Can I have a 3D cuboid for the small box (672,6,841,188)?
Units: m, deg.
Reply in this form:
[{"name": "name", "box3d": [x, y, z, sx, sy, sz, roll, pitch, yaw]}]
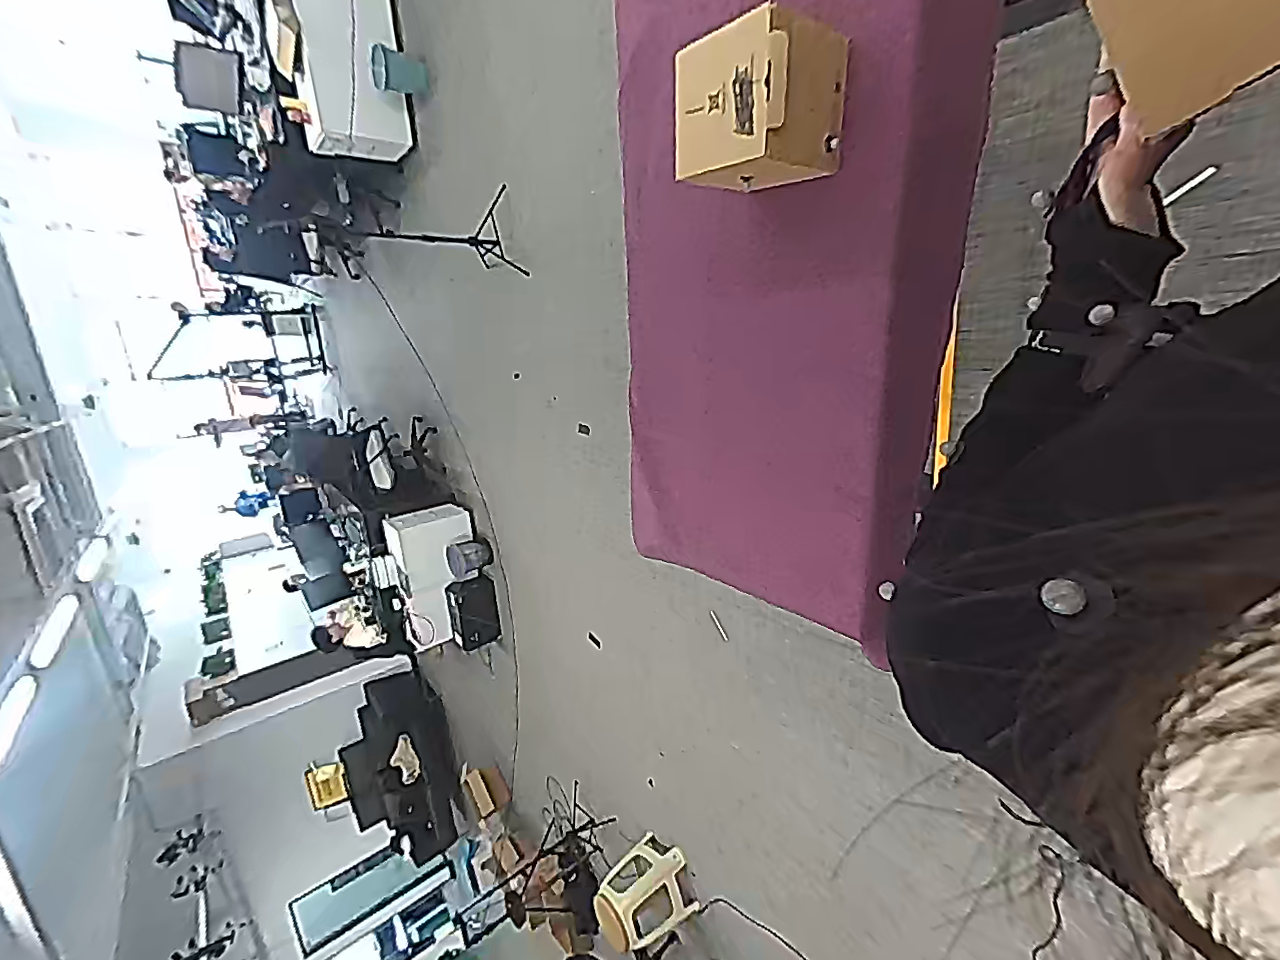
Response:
[{"name": "small box", "box3d": [0.165, -0.530, 0.778, 0.179, 0.176, 0.168, 21, 119, 48]}]
